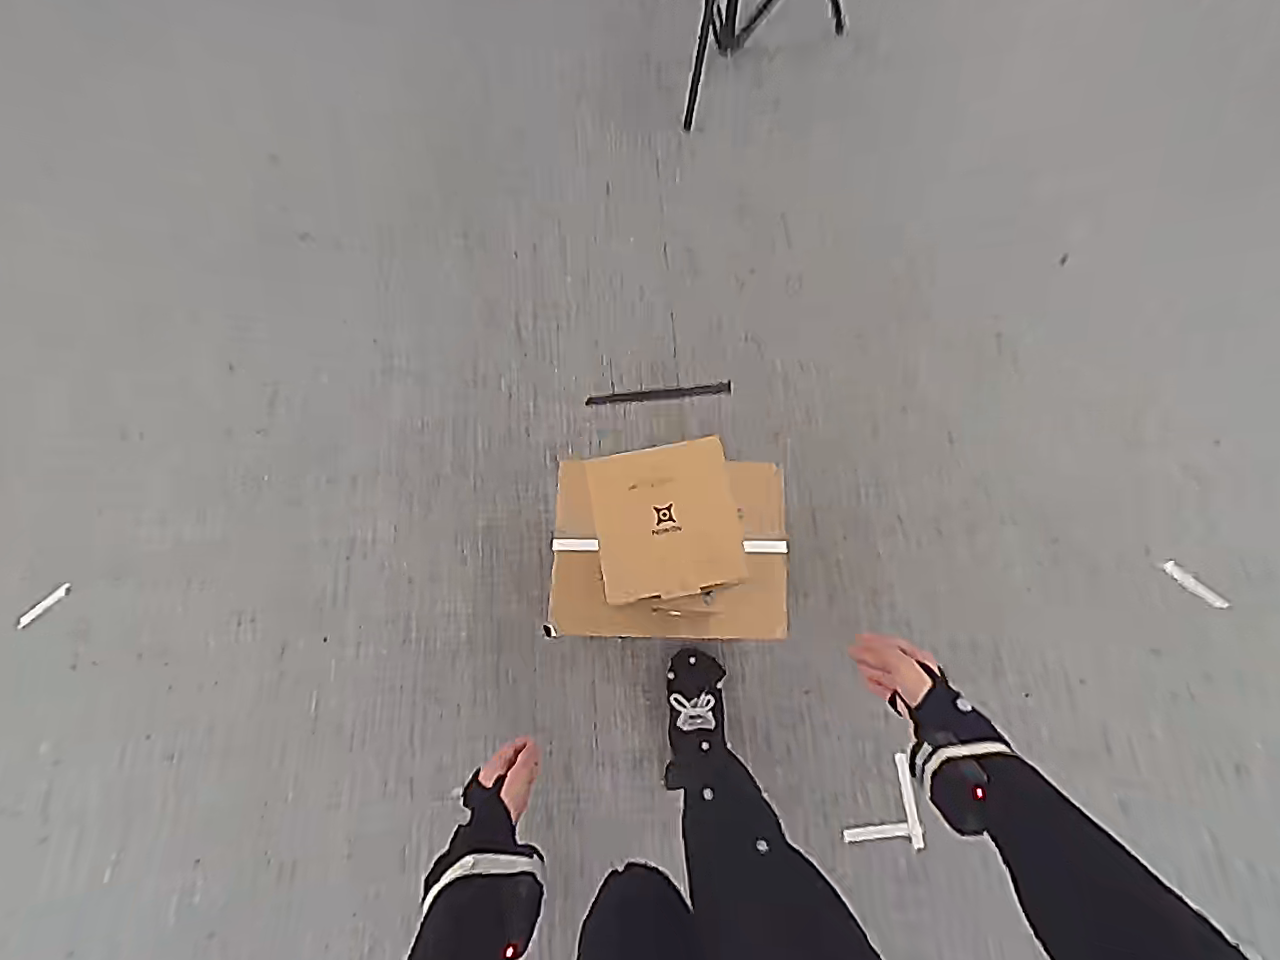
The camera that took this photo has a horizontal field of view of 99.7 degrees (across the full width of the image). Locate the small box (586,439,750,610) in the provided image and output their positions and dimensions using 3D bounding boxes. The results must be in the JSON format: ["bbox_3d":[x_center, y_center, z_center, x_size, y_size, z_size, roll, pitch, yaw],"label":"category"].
[{"bbox_3d":[0.032,0.067,0.697,0.168,0.176,0.179,-11,75,-2],"label":"small box"}]

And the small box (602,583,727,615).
[{"bbox_3d":[0.042,0.121,0.851,0.179,0.176,0.168,4,76,2],"label":"small box"}]
